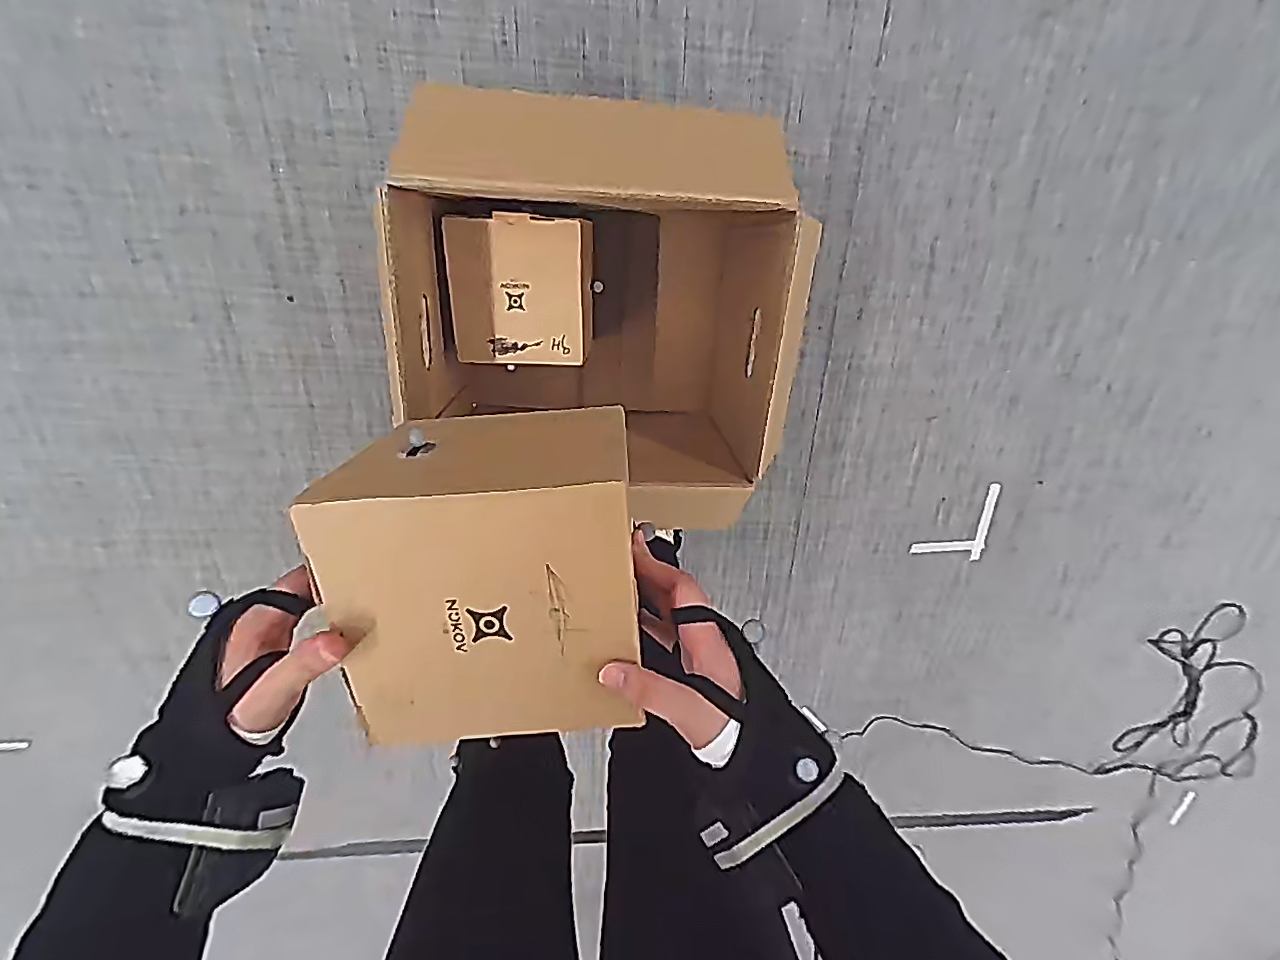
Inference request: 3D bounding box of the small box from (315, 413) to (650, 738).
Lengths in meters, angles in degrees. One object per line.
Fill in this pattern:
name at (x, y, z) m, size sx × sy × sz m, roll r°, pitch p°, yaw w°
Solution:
small box at (-0.087, 0.054, 0.393) m, size 0.179 × 0.176 × 0.168 m, roll -5°, pitch 112°, yaw -1°
